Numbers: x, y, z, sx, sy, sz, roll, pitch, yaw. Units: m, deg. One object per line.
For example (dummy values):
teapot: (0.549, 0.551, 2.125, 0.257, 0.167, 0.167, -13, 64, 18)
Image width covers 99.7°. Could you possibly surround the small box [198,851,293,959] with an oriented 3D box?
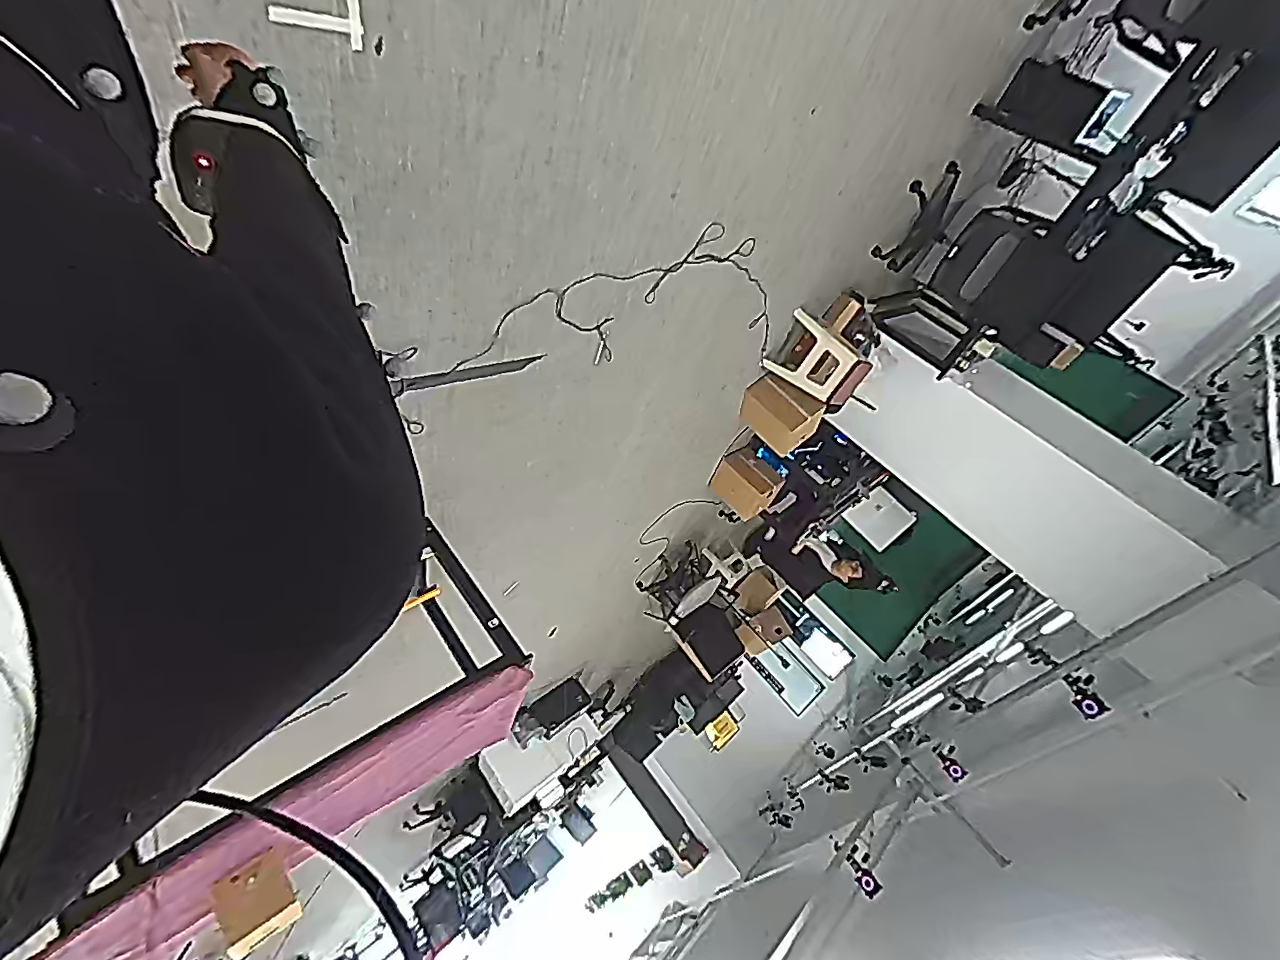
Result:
small box: (-1.077, 1.167, 1.482, 0.168, 0.176, 0.179, -21, 147, -43)
